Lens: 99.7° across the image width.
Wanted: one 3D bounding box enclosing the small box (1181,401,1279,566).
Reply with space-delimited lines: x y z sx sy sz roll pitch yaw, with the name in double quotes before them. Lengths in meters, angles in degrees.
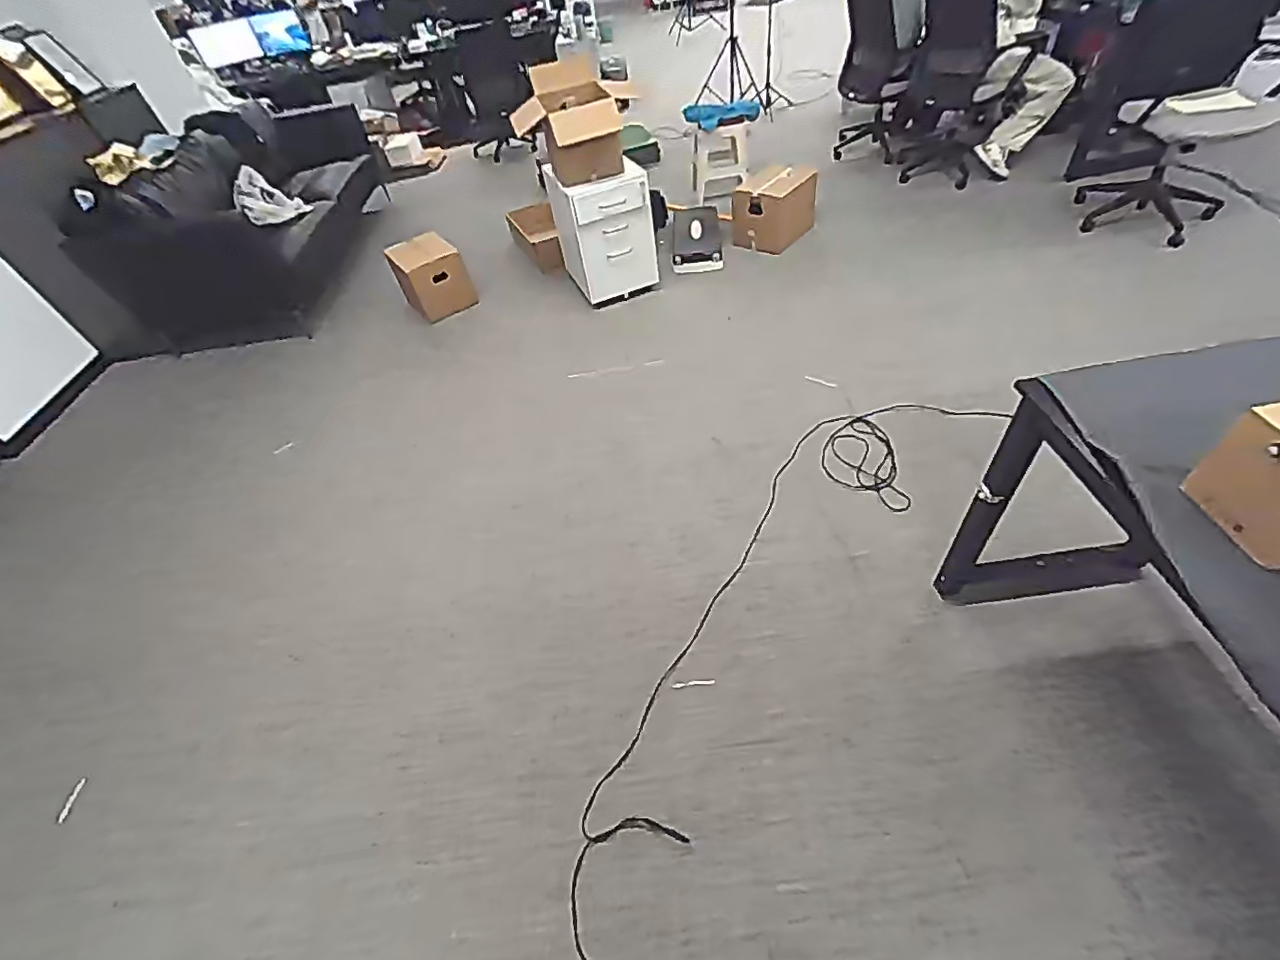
"small box" 0.939 0.001 0.750 0.179 0.176 0.168 -7 46 2
